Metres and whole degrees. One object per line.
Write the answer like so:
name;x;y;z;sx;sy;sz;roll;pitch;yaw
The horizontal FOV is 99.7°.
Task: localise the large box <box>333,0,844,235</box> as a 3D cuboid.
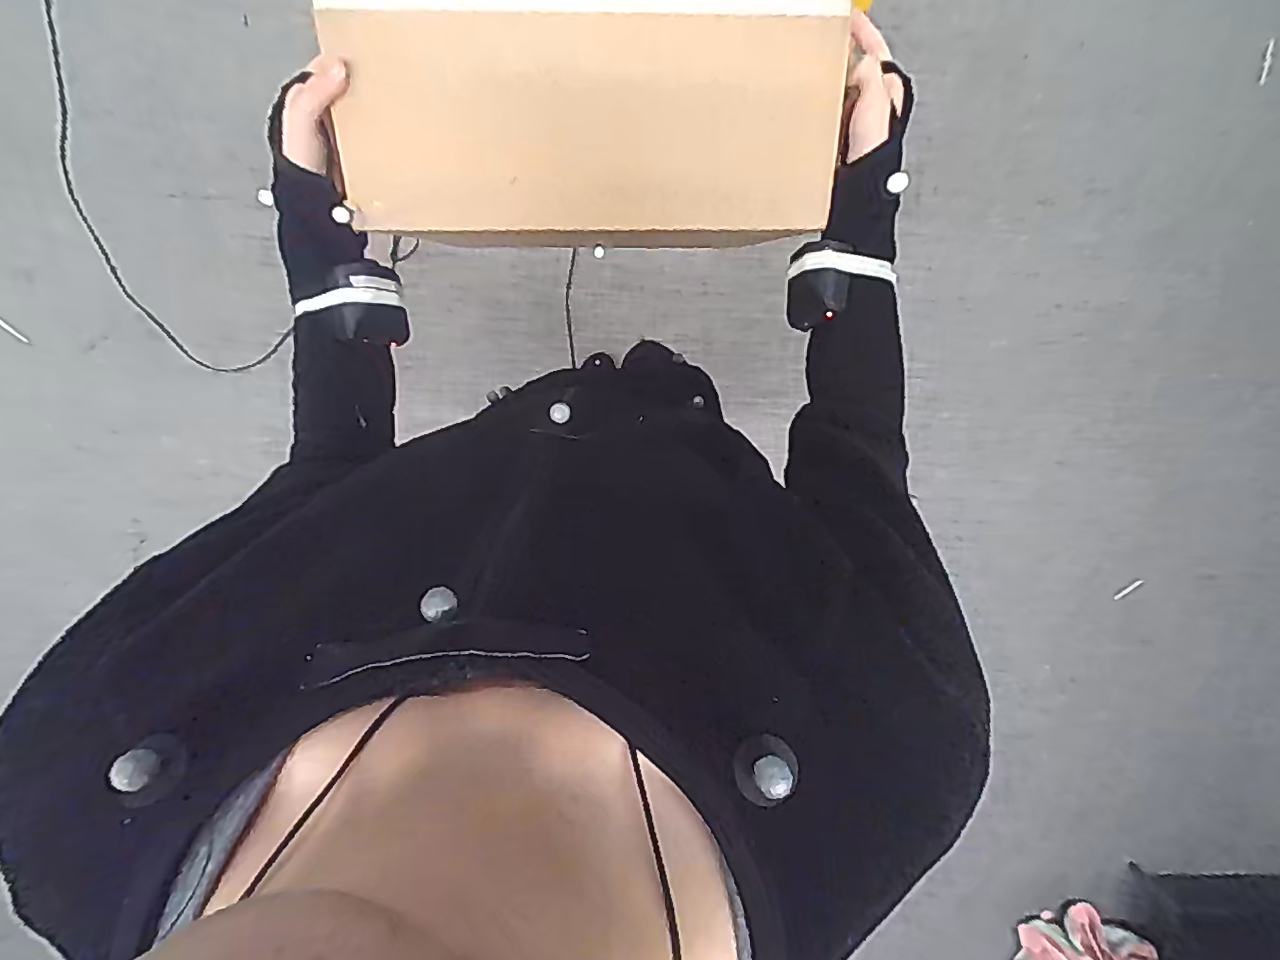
large box;-0.041;-0.427;0.555;0.408;0.320;0.320;-1;111;-2
